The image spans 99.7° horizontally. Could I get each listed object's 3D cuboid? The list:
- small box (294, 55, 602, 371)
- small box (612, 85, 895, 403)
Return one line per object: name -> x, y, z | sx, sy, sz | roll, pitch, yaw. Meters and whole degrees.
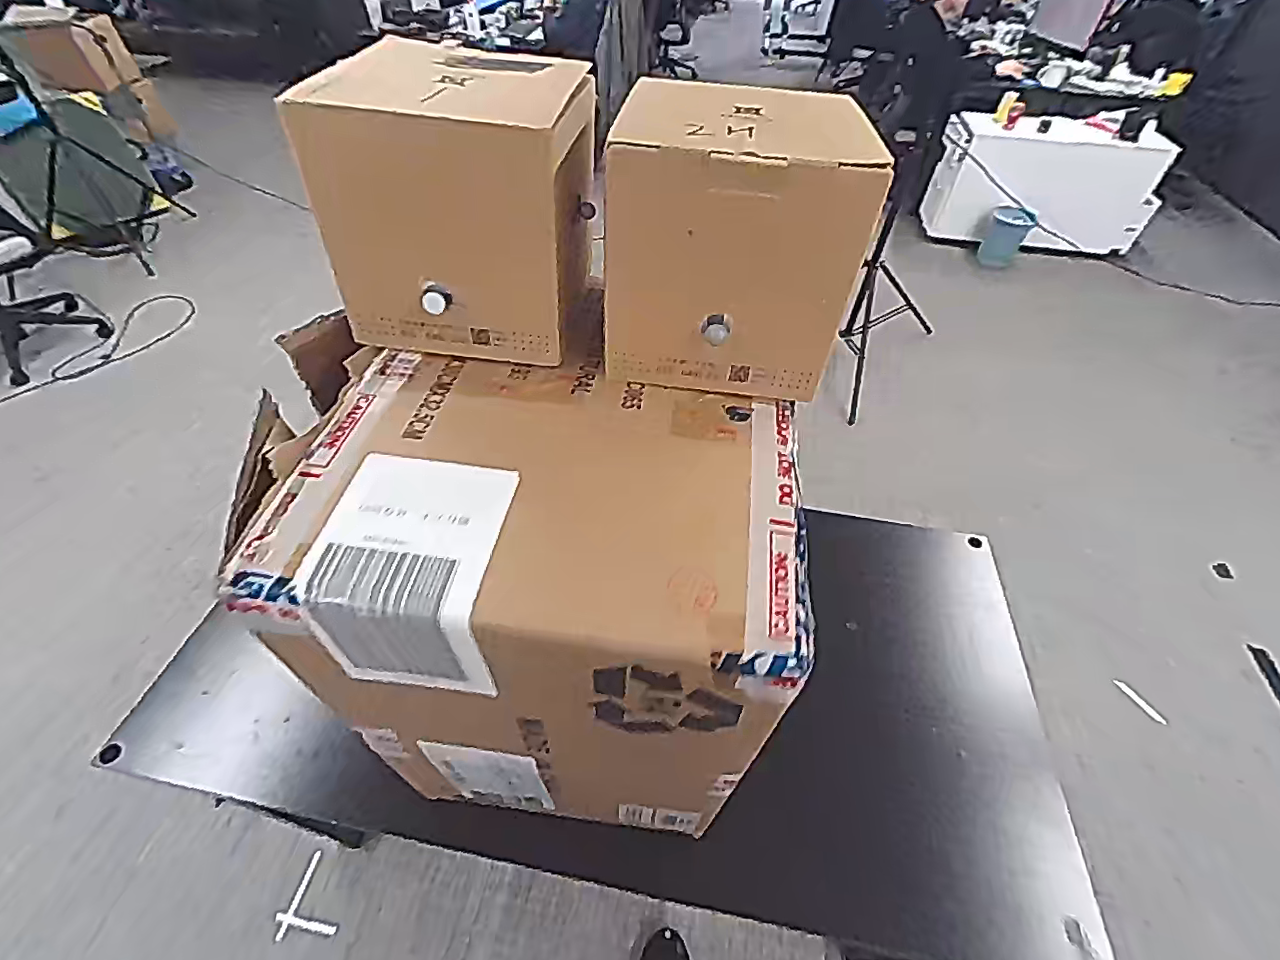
small box -> -0.126, -0.213, 0.434 | 0.168, 0.176, 0.179 | 7, 46, 0
small box -> 0.071, -0.186, 0.426 | 0.168, 0.176, 0.179 | 7, 46, 3
